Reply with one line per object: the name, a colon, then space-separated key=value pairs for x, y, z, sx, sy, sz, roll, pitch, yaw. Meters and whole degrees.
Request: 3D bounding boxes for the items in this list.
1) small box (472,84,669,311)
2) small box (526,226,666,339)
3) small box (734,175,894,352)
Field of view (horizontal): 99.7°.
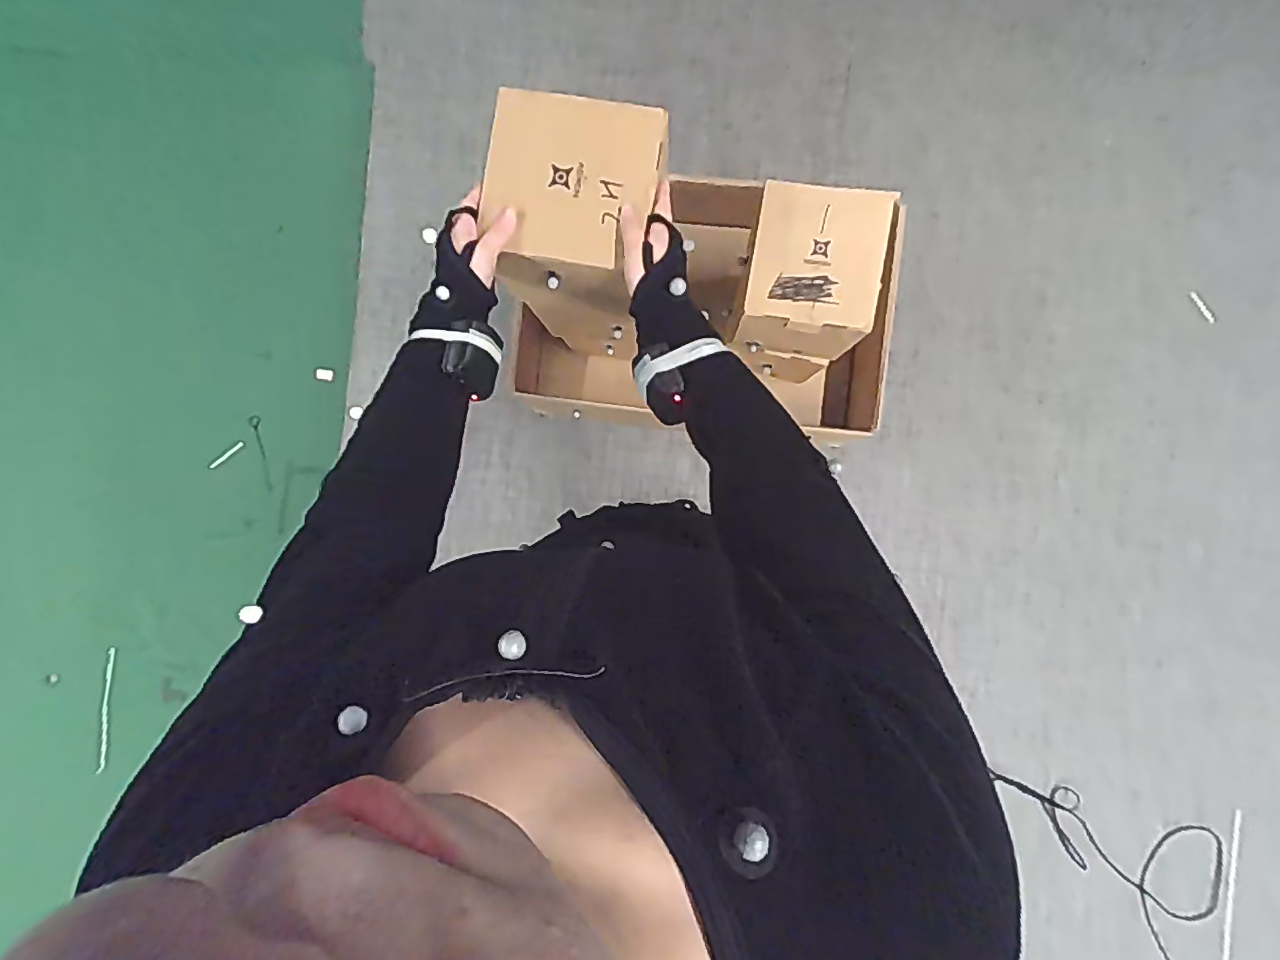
small box: x=-0.067 y=-0.308 z=0.625 sx=0.179 sy=0.176 sz=0.168 roll=11 pitch=92 yaw=3
small box: x=-0.053 y=-0.316 z=0.788 sx=0.168 sy=0.176 sz=0.179 roll=8 pitch=90 yaw=4
small box: x=0.232 y=-0.291 z=0.764 sx=0.168 sy=0.176 sz=0.179 roll=10 pitch=91 yaw=4
